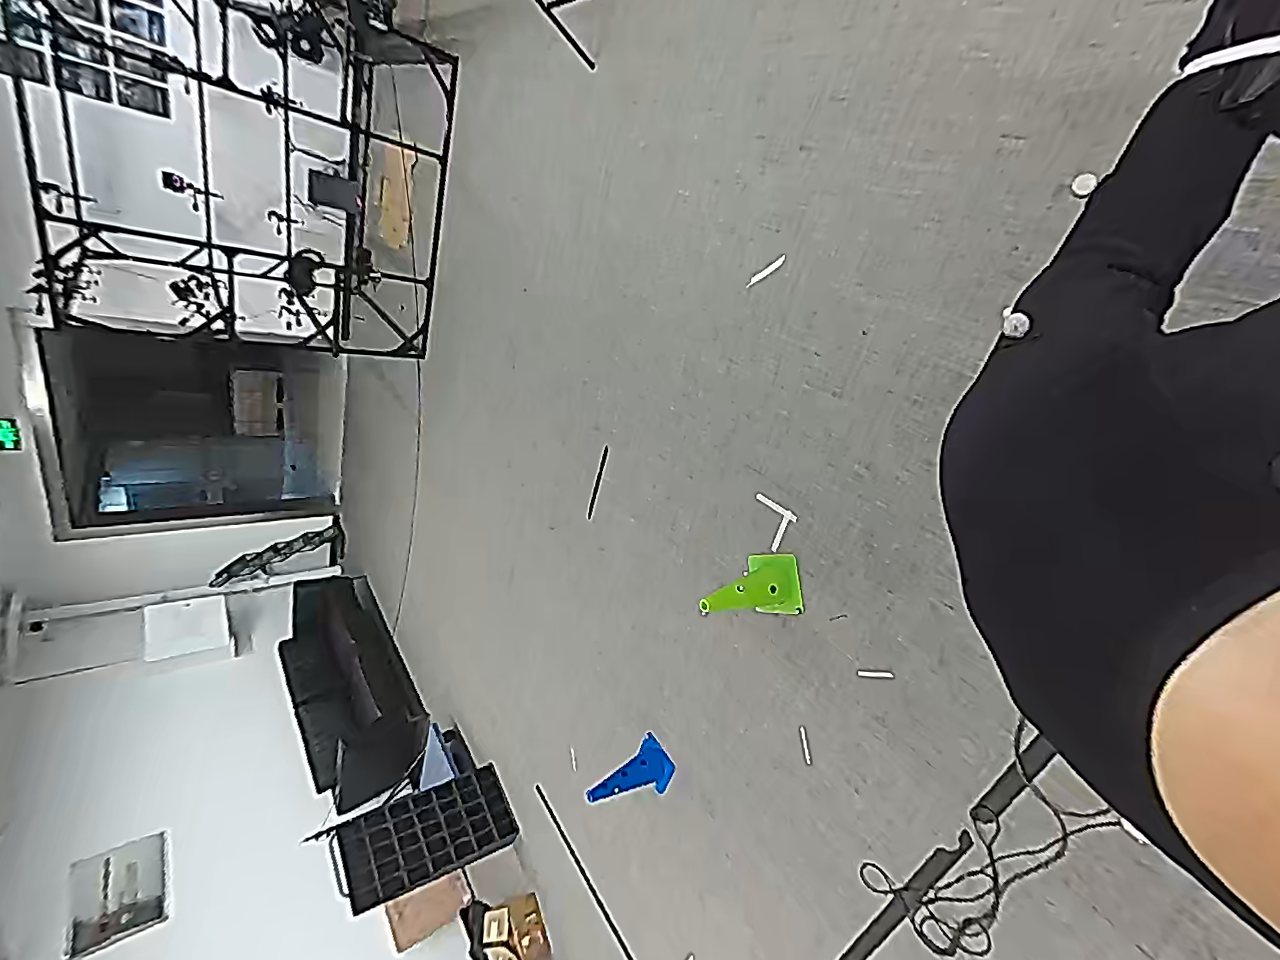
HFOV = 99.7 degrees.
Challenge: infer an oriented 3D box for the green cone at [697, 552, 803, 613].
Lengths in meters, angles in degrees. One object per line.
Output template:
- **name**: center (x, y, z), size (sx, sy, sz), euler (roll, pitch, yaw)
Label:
- **green cone**: center (0.327, 0.356, 1.732), size (0.202, 0.368, 0.200), euler (-13, 82, 51)

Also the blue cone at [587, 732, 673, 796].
- **blue cone**: center (-0.055, 1.257, 2.301), size (0.192, 0.380, 0.193), euler (44, 125, 40)
